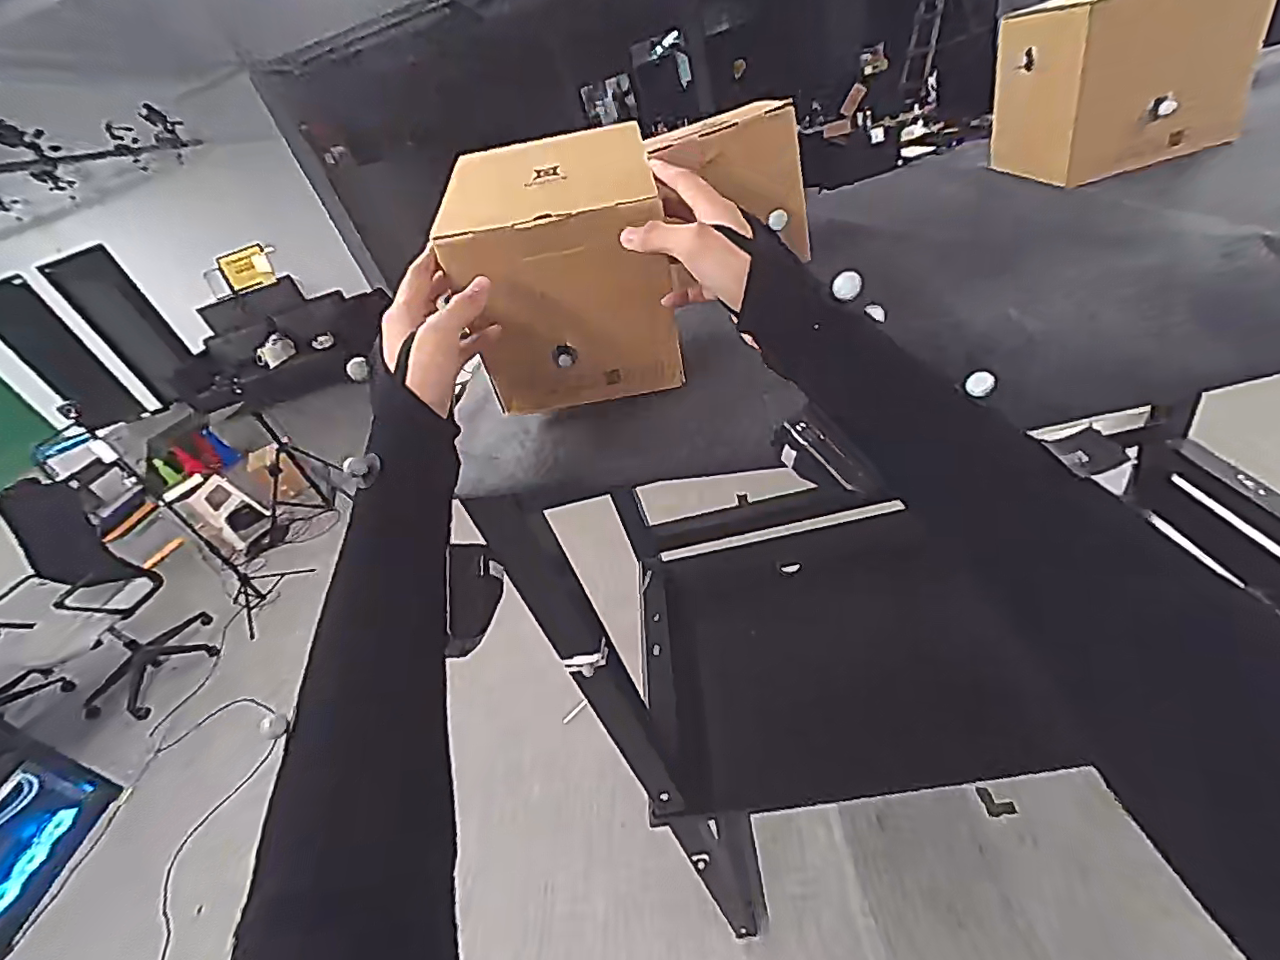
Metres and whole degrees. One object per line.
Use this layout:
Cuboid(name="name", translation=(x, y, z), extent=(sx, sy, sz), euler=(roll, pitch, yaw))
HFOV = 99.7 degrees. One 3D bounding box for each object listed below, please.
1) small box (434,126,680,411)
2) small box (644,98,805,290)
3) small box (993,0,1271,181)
Cuboid(name="small box", translation=(-0.061, -0.189, 0.492), extent=(0.168, 0.176, 0.179), euler=(-10, 48, 3))
Cuboid(name="small box", translation=(0.104, -0.361, 0.693), extent=(0.168, 0.176, 0.179), euler=(-14, 34, 9))
Cuboid(name="small box", translation=(0.530, -0.459, 0.612), extent=(0.168, 0.176, 0.179), euler=(-13, 35, 11))
